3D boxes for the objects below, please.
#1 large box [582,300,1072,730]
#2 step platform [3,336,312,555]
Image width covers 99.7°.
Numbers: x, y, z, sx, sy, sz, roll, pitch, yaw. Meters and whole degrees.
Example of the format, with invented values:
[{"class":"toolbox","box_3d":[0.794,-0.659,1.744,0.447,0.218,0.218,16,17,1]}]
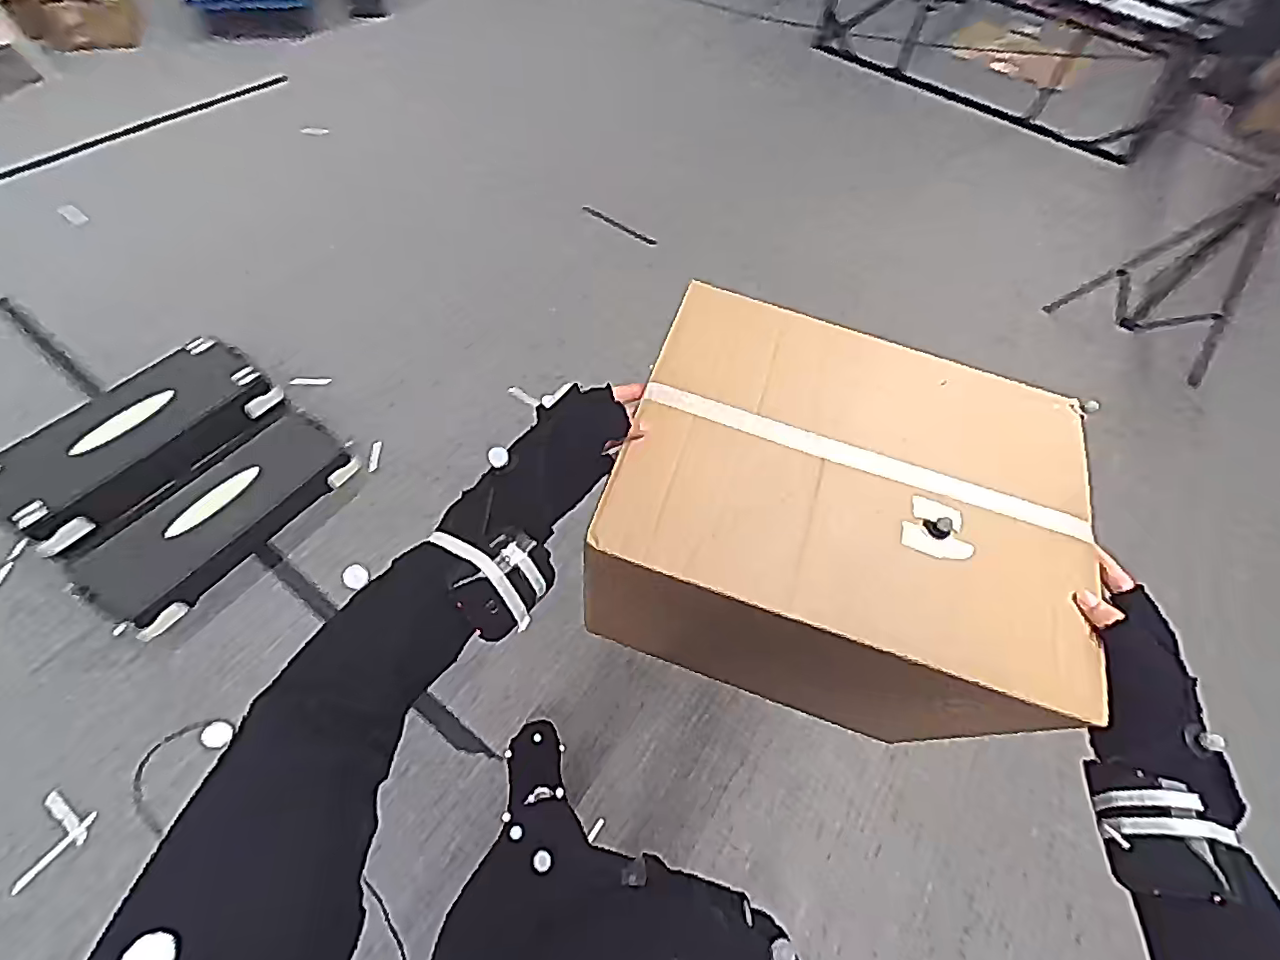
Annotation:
[{"class":"large box","box_3d":[0.169,0.059,0.625,0.408,0.320,0.320,18,62,3]},{"class":"step platform","box_3d":[-1.341,-0.124,1.553,0.286,0.204,0.684,32,60,14]}]
